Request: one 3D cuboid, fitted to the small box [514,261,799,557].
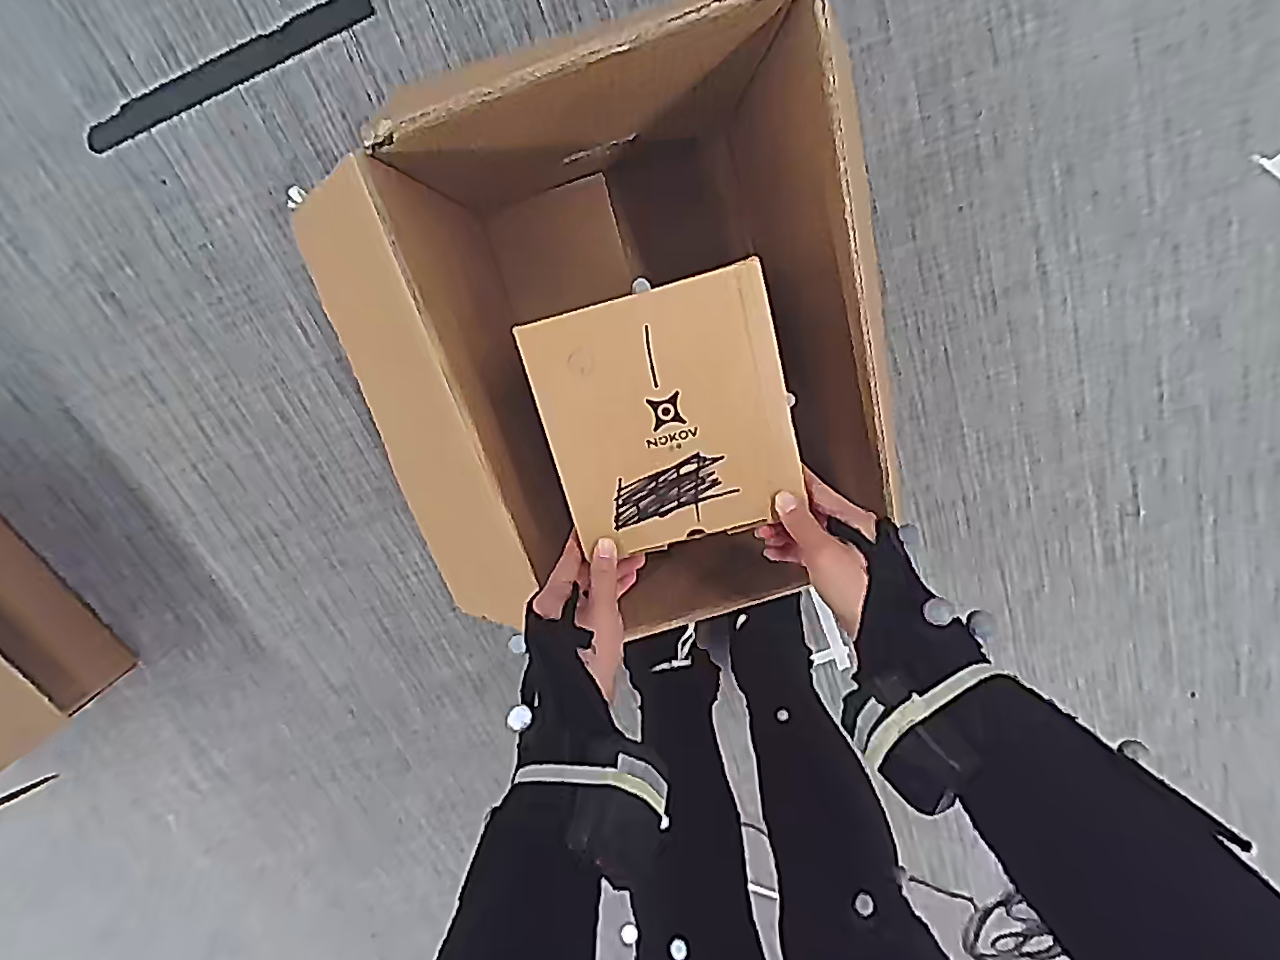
[{"bbox_3d":[0.017,-0.062,0.447,0.168,0.176,0.179,-14,104,4],"label":"small box"}]
